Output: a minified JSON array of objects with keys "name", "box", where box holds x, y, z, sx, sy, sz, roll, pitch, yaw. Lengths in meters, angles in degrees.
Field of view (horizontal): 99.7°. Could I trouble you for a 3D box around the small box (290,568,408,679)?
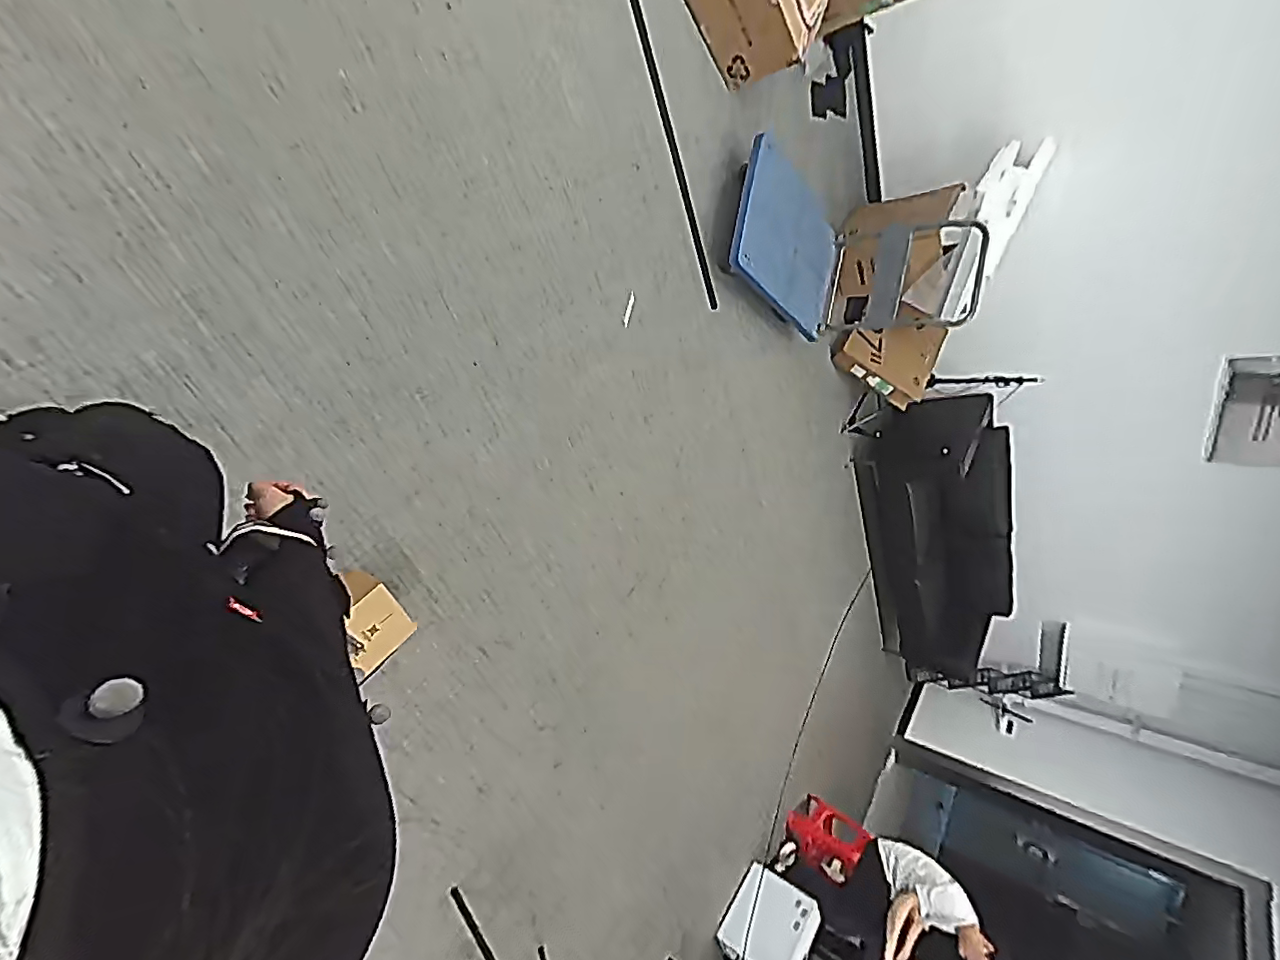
[{"name":"small box","box":[-0.709,0.338,1.306,0.179,0.176,0.168,-45,127,-36]}]
